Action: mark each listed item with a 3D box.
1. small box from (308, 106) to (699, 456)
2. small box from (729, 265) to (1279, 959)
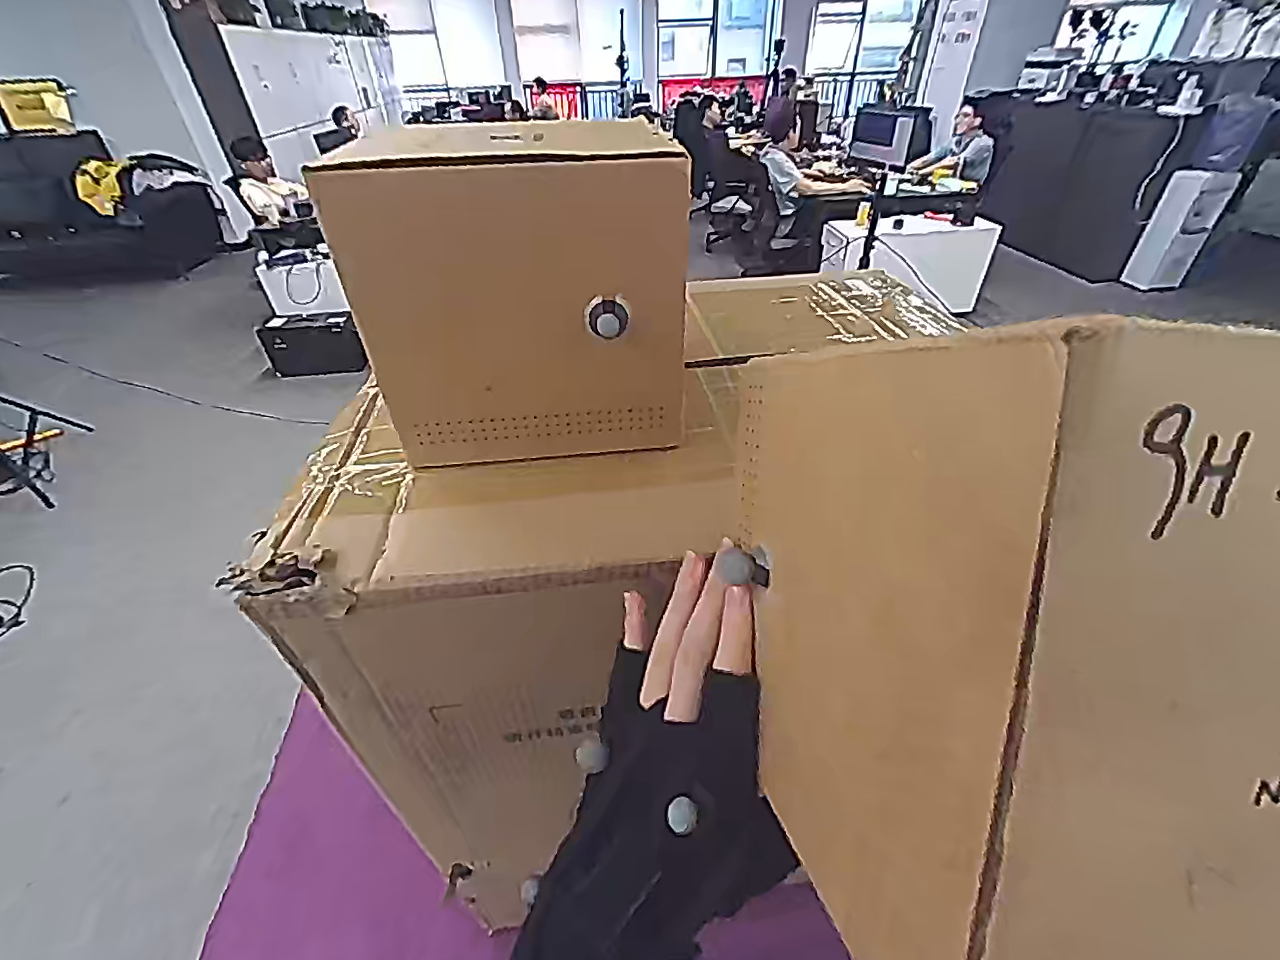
[{"bbox_3d":[-0.066,-0.132,0.352,0.179,0.176,0.168,-6,38,-5],"label":"small box"},{"bbox_3d":[0.138,0.036,0.197,0.168,0.179,0.176,1,10,-10],"label":"small box"}]
